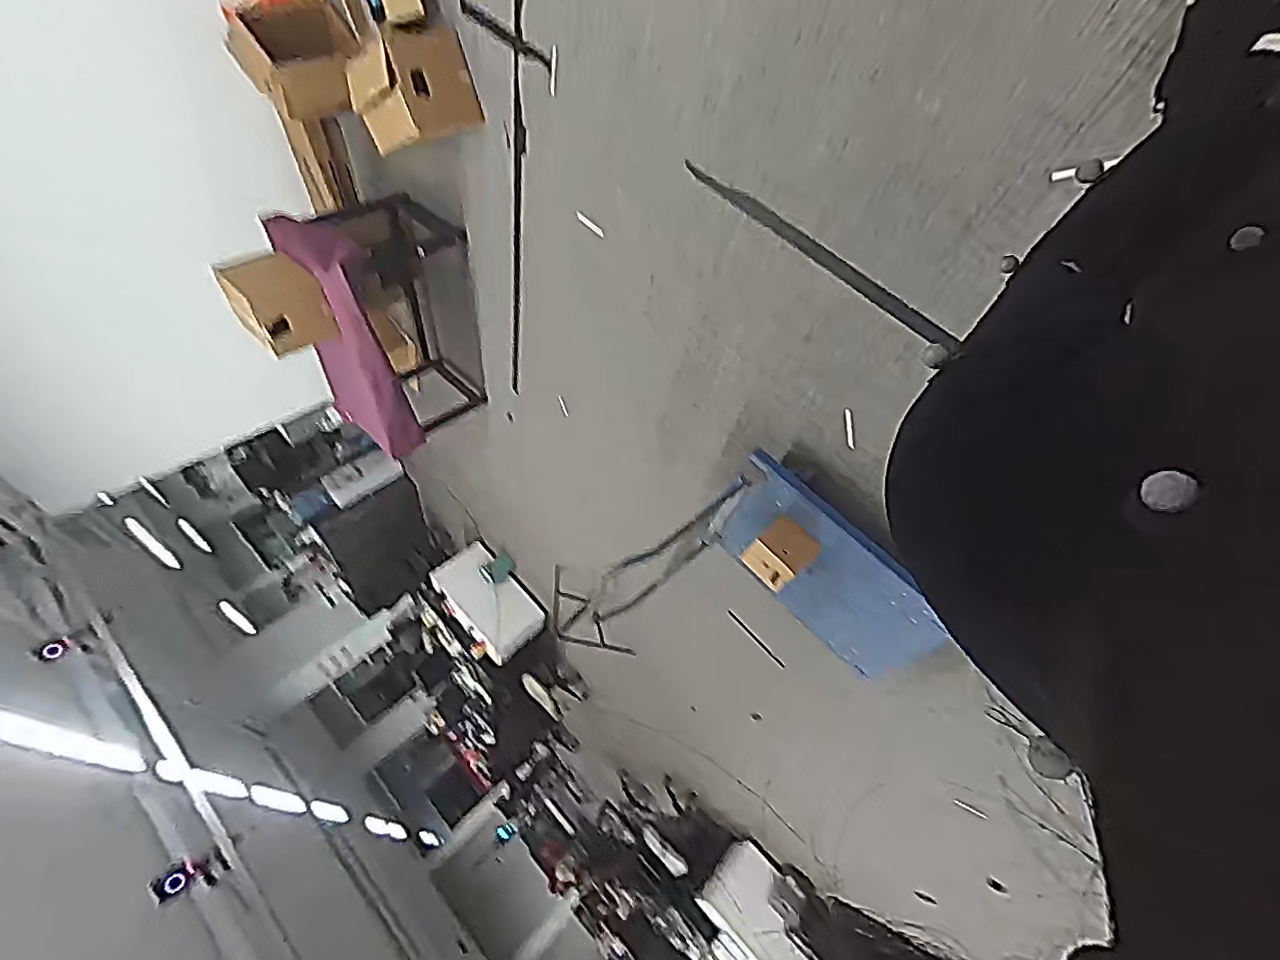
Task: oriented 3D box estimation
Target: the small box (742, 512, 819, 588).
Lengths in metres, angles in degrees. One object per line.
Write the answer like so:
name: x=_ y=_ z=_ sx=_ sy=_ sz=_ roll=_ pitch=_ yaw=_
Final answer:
small box: x=0.504 y=0.247 z=1.935 sx=0.179 sy=0.176 sz=0.168 roll=45 pitch=148 yaw=15
